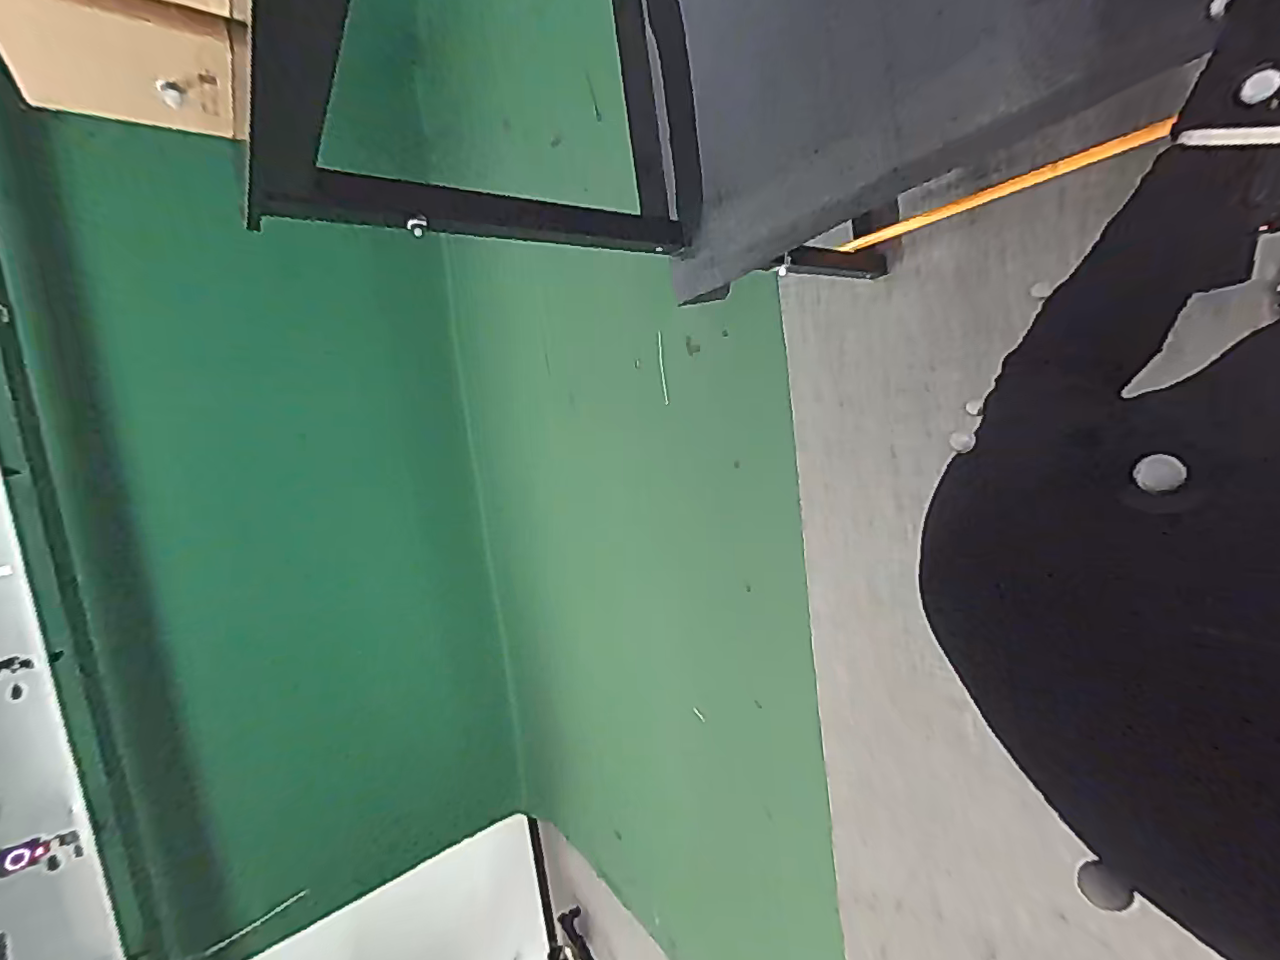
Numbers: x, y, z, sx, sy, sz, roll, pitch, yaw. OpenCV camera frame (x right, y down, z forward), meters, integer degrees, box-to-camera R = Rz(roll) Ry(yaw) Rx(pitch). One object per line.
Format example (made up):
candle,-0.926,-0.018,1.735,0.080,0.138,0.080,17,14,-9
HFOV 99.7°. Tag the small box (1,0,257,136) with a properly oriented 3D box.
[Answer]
small box,-0.489,-0.472,0.519,0.168,0.176,0.179,-2,99,54
